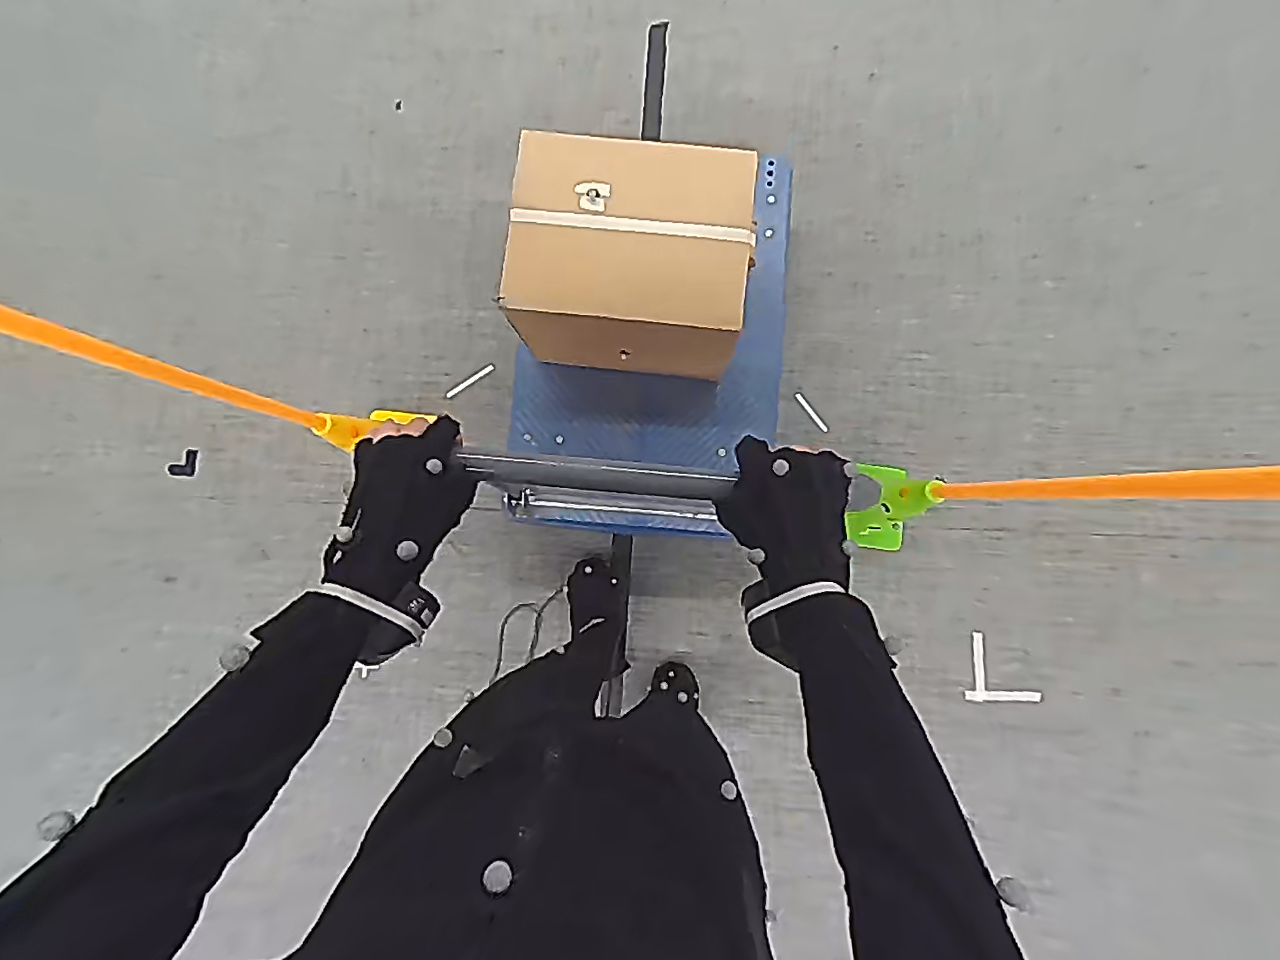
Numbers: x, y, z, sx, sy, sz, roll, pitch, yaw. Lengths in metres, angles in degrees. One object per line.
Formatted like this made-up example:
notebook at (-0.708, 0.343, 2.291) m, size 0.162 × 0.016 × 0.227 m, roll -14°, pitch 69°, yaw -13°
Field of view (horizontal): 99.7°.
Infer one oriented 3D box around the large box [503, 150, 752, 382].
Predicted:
large box at (-0.013, -0.391, 1.065) m, size 0.408 × 0.320 × 0.320 m, roll 7°, pitch 86°, yaw 3°

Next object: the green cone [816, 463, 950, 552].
green cone at (0.533, 0.049, 1.146) m, size 0.202 × 0.368 × 0.200 m, roll 7°, pitch 84°, yaw 1°
